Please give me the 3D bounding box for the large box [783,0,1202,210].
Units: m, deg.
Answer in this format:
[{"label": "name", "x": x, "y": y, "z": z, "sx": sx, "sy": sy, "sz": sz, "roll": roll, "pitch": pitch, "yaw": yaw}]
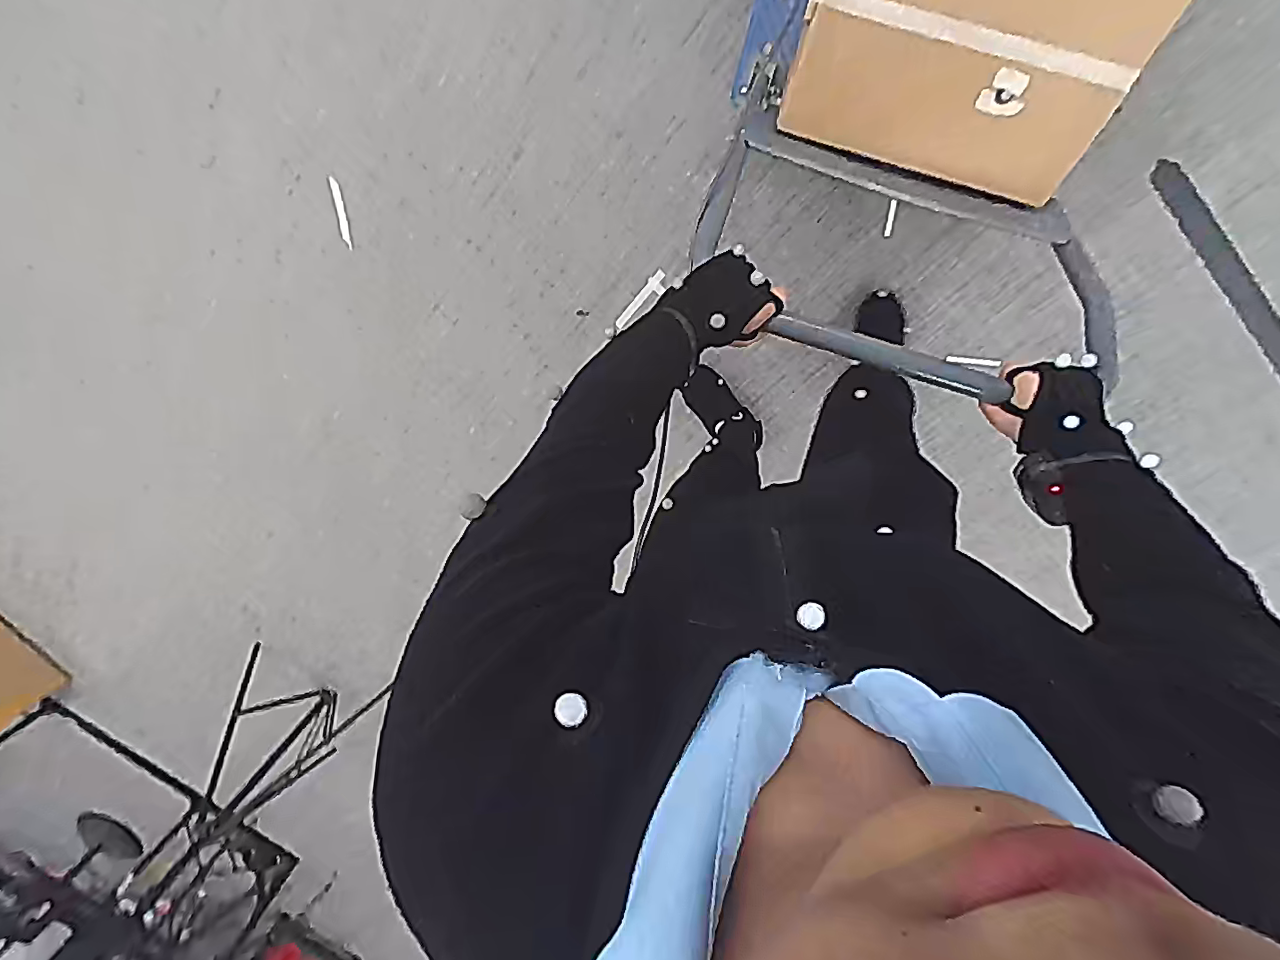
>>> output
[{"label": "large box", "x": 0.450, "y": -0.642, "z": 0.761, "sx": 0.408, "sy": 0.320, "sz": 0.320, "roll": 17, "pitch": 139, "yaw": 0}]
